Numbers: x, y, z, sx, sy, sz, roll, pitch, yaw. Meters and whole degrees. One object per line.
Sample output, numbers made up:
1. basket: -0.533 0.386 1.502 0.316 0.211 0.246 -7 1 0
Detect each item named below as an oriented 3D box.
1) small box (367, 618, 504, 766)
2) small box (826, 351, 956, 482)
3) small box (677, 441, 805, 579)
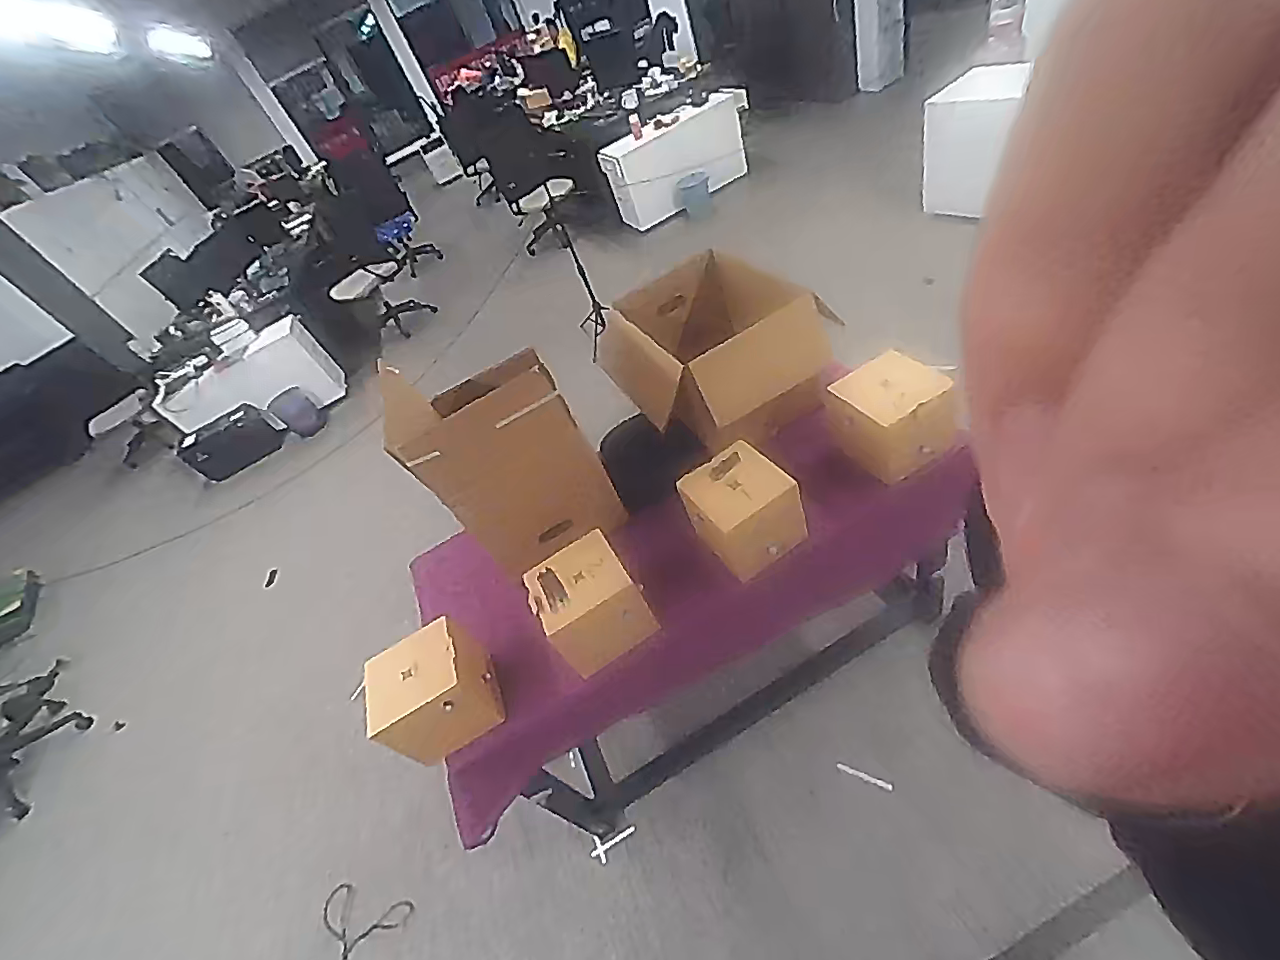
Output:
1. small box: -0.387 0.406 1.028 0.179 0.176 0.168 -31 42 -6
2. small box: 0.507 -0.127 1.103 0.168 0.176 0.179 -31 42 -3
3. small box: 0.202 0.061 1.073 0.168 0.176 0.179 -34 43 -7
